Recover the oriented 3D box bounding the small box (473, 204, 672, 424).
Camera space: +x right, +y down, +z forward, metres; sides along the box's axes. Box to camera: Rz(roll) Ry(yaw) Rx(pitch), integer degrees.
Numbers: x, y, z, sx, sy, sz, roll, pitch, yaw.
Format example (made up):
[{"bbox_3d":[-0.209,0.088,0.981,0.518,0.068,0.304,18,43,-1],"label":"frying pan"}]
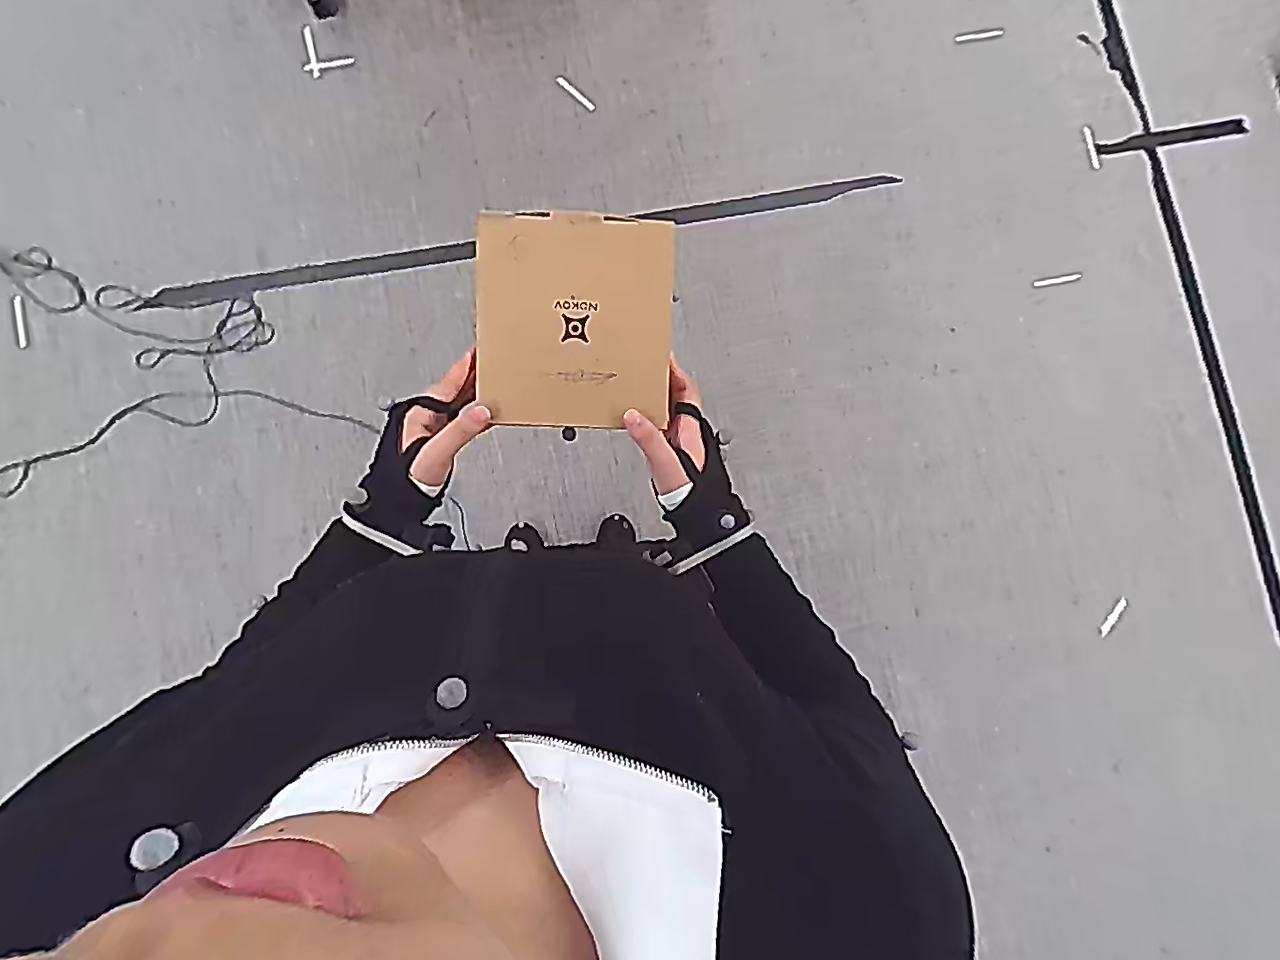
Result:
[{"bbox_3d":[-0.063,-0.147,0.537,0.168,0.176,0.179,2,97,-3],"label":"small box"}]
